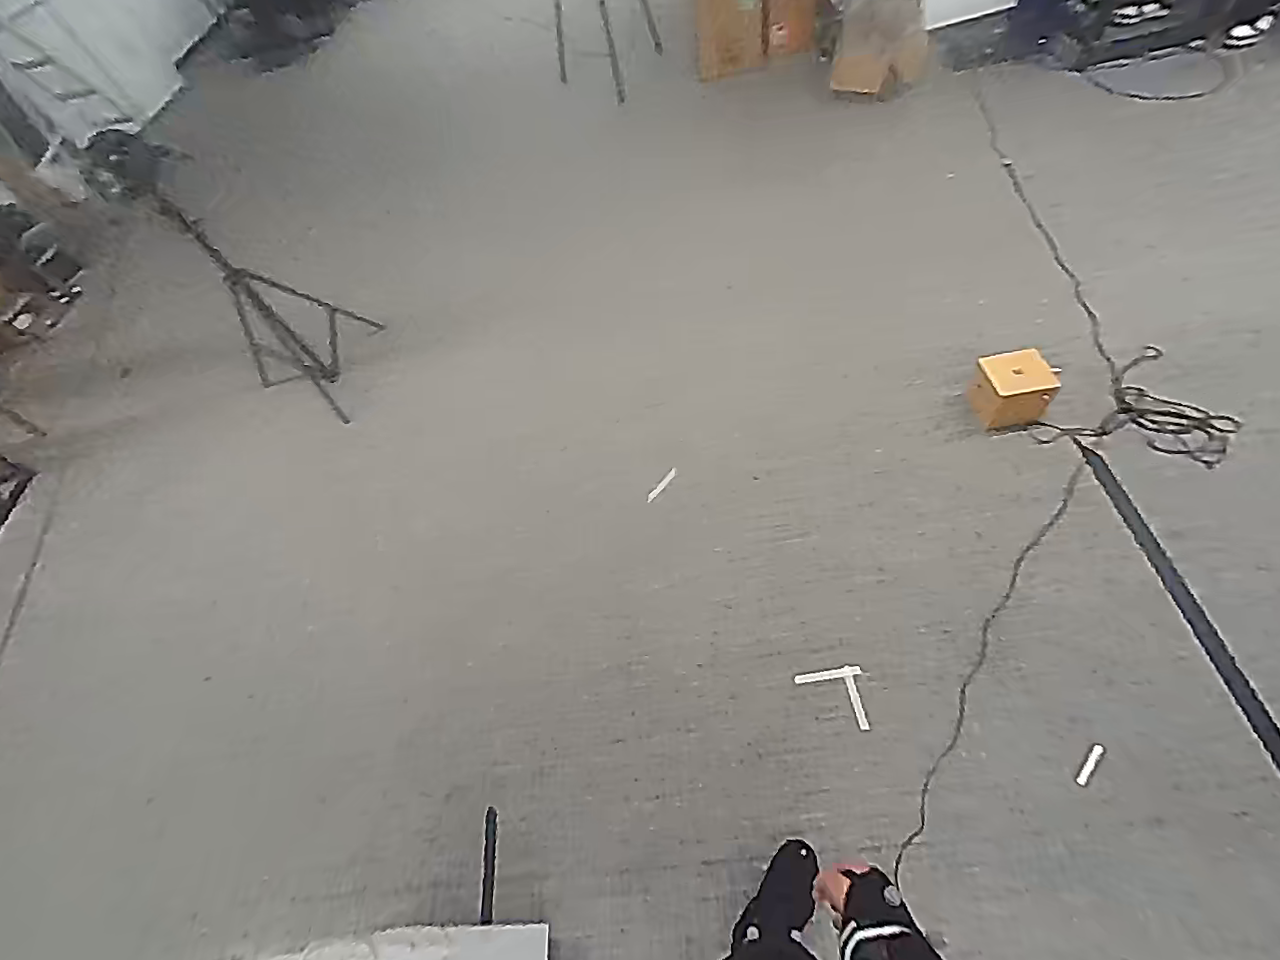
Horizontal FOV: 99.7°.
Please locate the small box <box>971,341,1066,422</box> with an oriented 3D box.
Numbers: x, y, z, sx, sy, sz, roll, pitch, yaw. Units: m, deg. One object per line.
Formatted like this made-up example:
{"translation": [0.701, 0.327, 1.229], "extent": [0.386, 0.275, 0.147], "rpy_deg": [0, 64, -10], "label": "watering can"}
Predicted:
{"translation": [1.171, -0.302, 1.696], "extent": [0.179, 0.176, 0.168], "rpy_deg": [-10, 56, 7], "label": "small box"}
